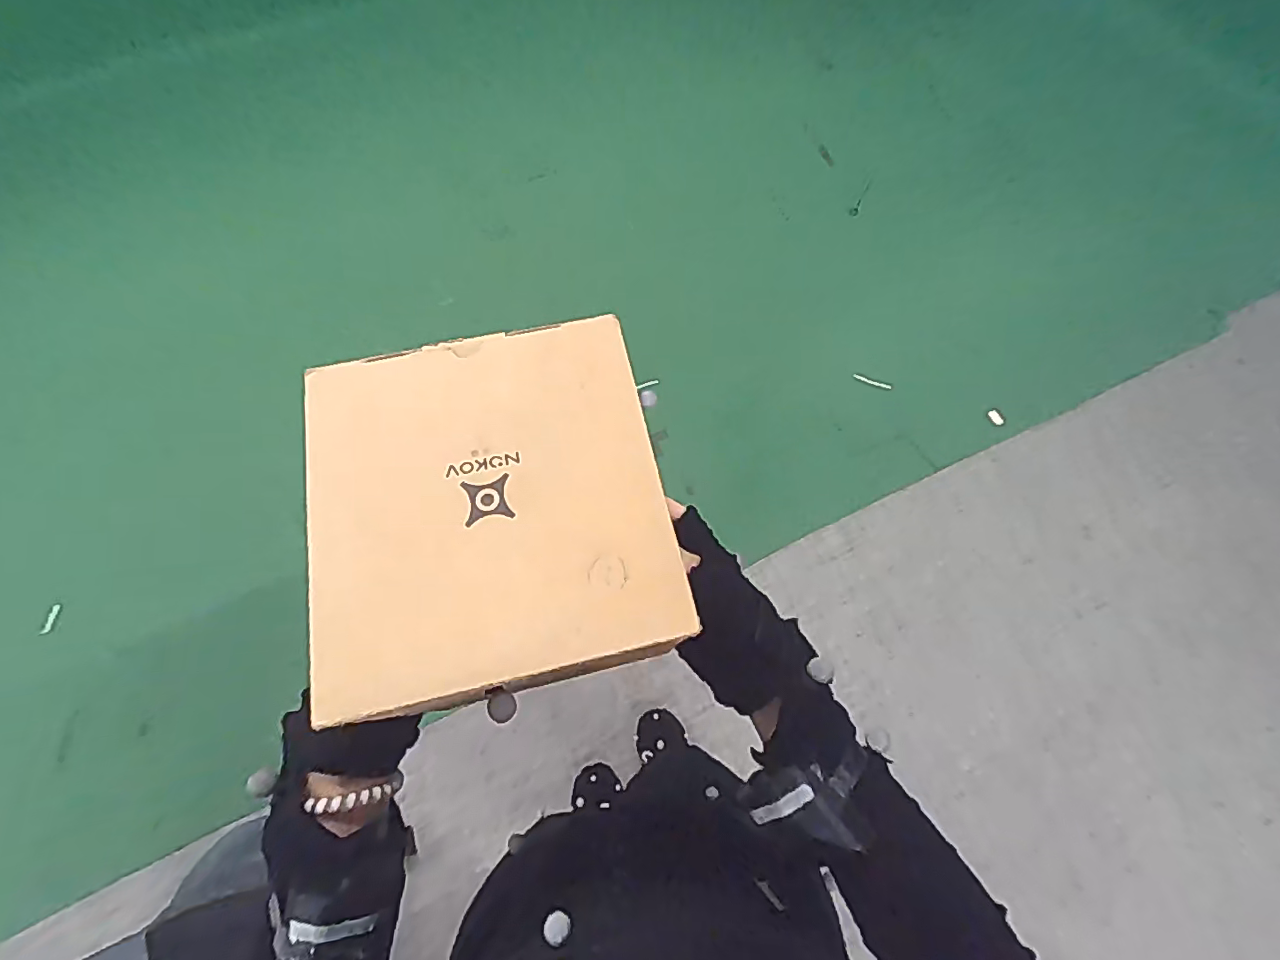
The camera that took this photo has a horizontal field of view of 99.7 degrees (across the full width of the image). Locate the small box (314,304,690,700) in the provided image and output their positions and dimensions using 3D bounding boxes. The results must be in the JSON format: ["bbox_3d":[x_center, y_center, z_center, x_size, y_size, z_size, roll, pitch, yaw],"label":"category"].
[{"bbox_3d":[-0.074,0.026,0.336,0.168,0.176,0.179,-12,68,-6],"label":"small box"}]
